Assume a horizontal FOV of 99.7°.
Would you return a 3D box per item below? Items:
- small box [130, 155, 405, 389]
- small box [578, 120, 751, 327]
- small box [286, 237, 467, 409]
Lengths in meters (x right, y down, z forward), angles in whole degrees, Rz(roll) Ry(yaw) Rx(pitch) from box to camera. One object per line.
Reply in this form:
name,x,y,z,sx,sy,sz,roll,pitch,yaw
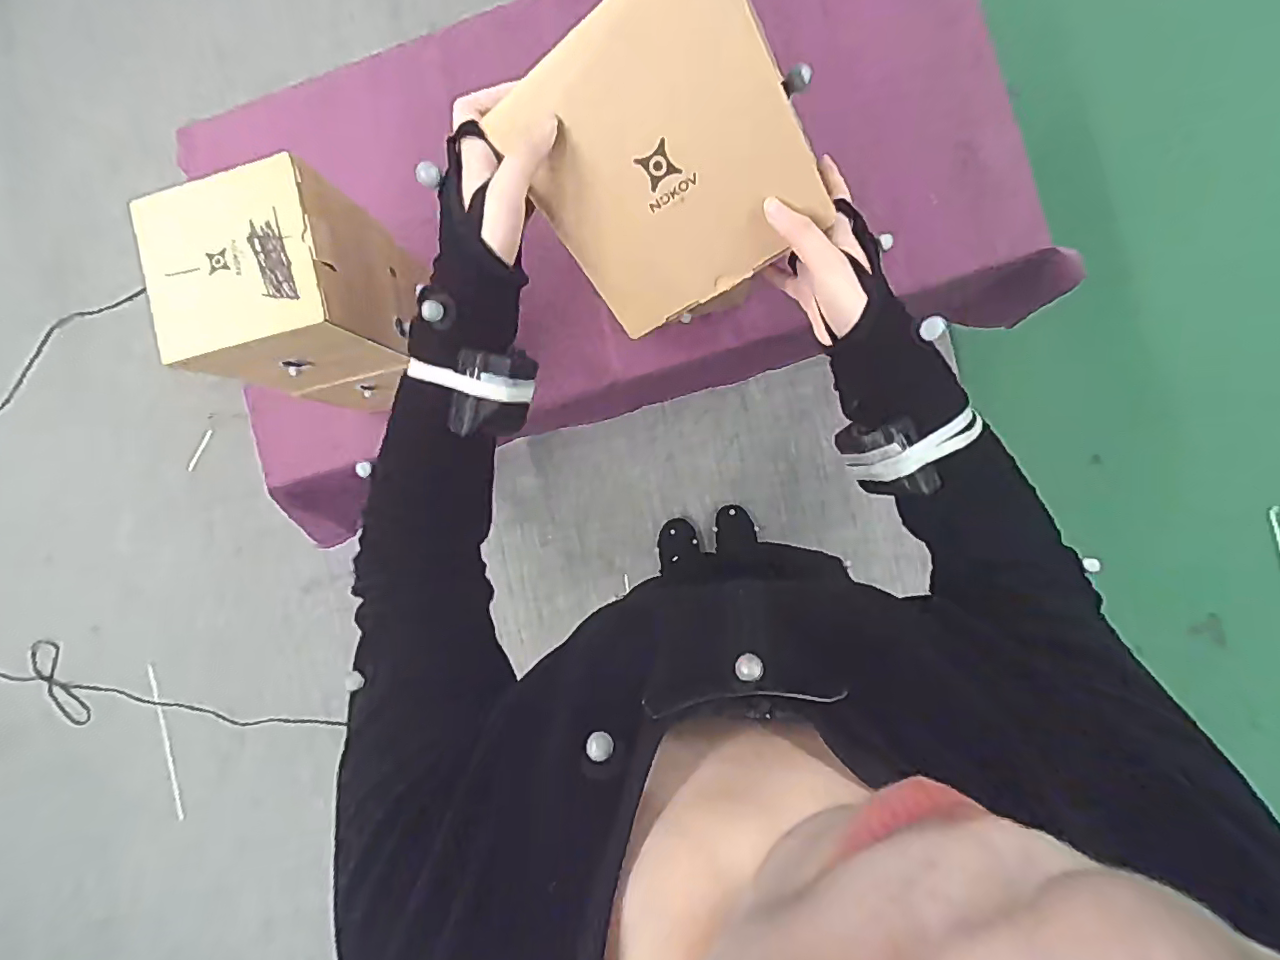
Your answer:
small box,-0.381,-0.208,0.590,0.179,0.176,0.168,-13,89,6
small box,0.034,-0.321,0.712,0.179,0.176,0.168,-14,88,5
small box,-0.369,-0.204,0.753,0.179,0.176,0.168,-13,89,5
